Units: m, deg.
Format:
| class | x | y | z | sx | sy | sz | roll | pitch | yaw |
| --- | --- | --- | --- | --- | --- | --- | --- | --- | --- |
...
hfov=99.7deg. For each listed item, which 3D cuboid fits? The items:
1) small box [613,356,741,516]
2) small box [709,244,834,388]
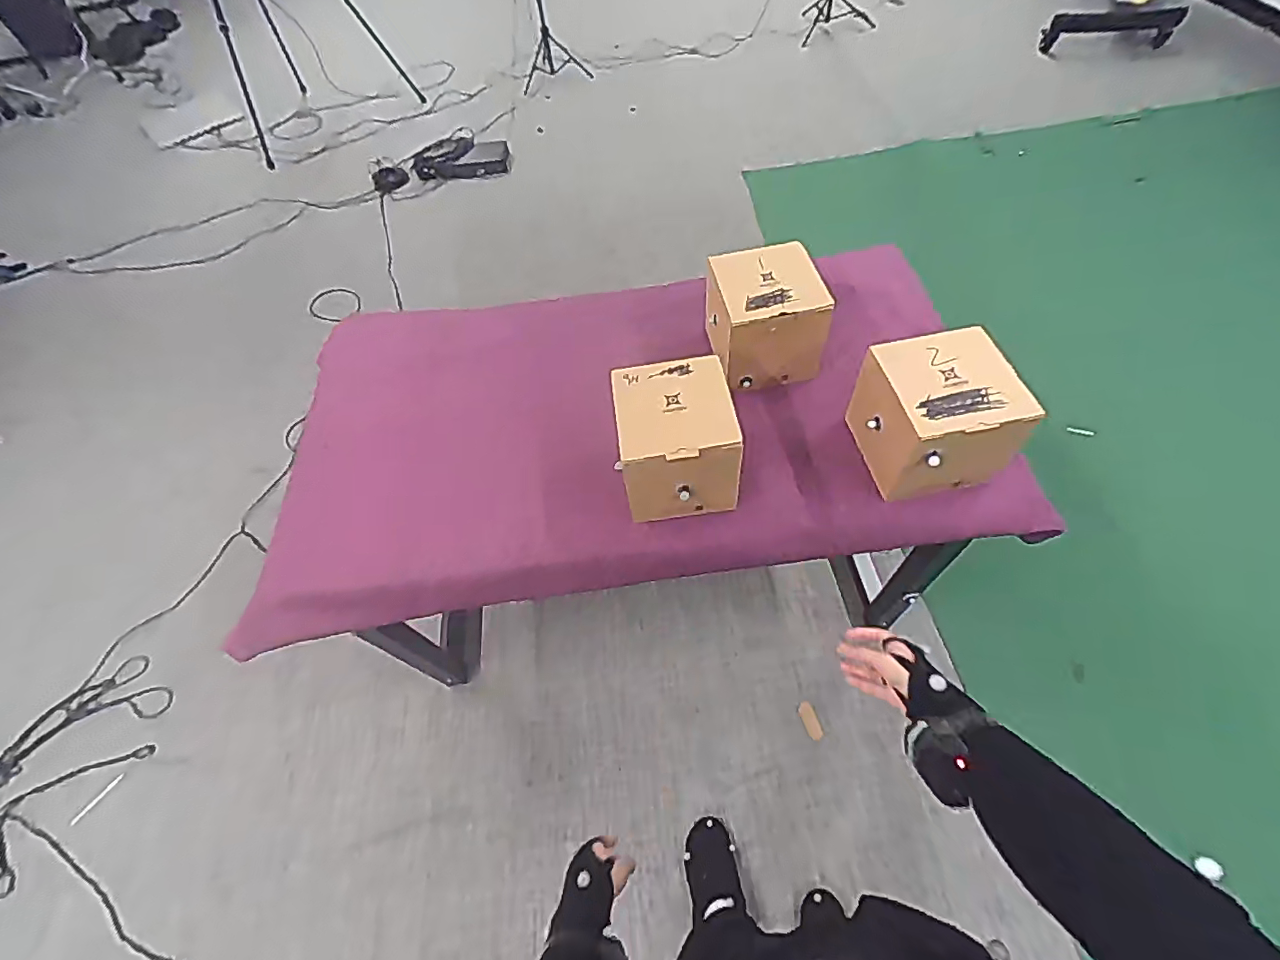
| class | x | y | z | sx | sy | sz | roll | pitch | yaw |
| --- | --- | --- | --- | --- | --- | --- | --- | --- | --- |
| small box | 0.055 | -0.057 | 0.821 | 0.168 | 0.176 | 0.179 | -8 | 56 | 1 |
| small box | 0.219 | -0.277 | 0.947 | 0.168 | 0.176 | 0.179 | -10 | 56 | 0 |
